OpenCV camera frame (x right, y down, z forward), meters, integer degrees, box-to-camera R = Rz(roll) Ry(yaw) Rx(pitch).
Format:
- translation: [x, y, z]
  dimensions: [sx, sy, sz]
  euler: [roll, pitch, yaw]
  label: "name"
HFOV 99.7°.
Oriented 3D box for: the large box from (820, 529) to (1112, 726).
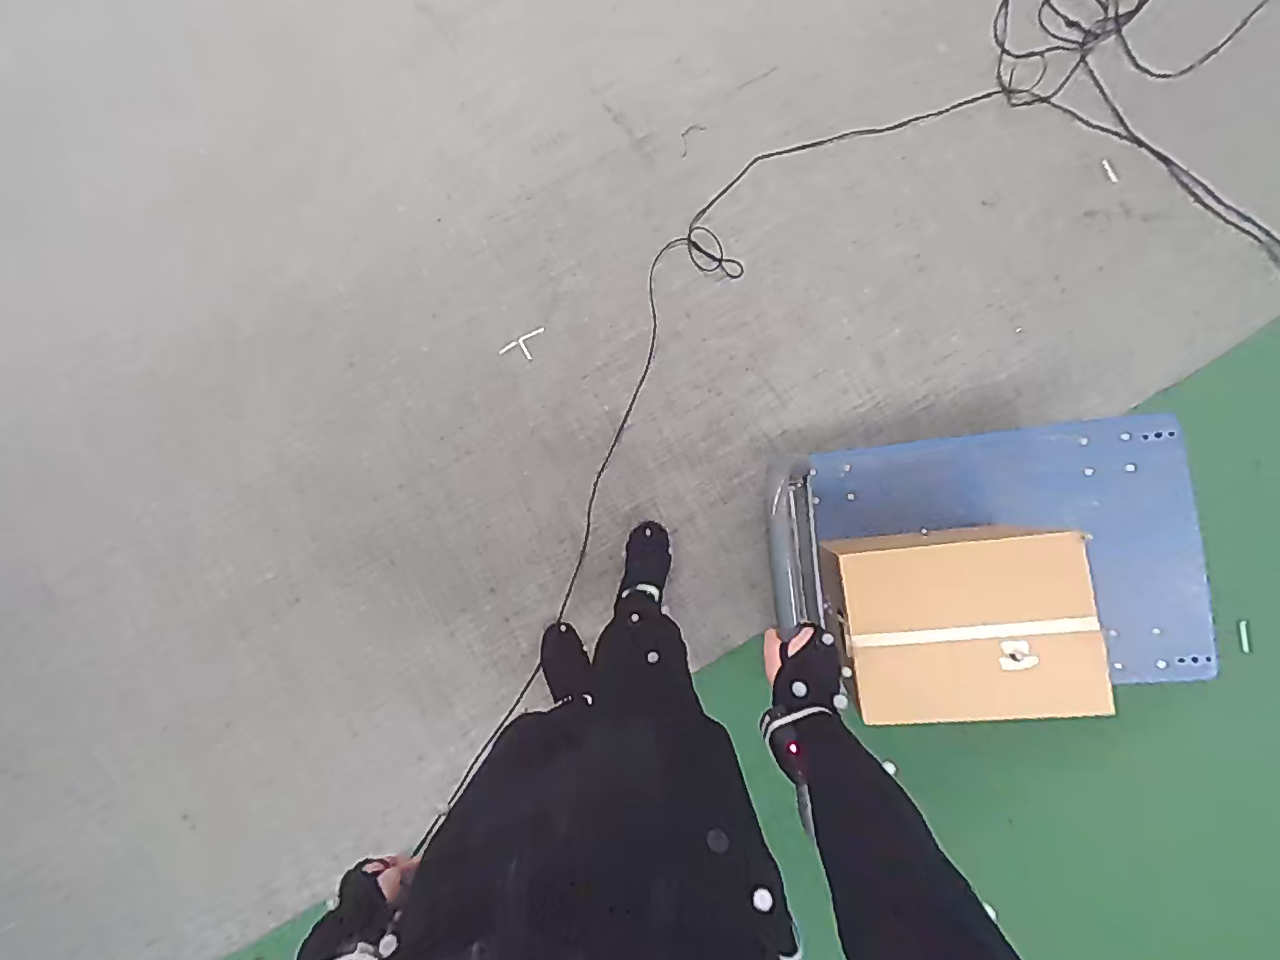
- translation: [0.612, 0.277, 1.101]
  dimensions: [0.408, 0.320, 0.320]
  euler: [-7, 86, 10]
  label: "large box"
